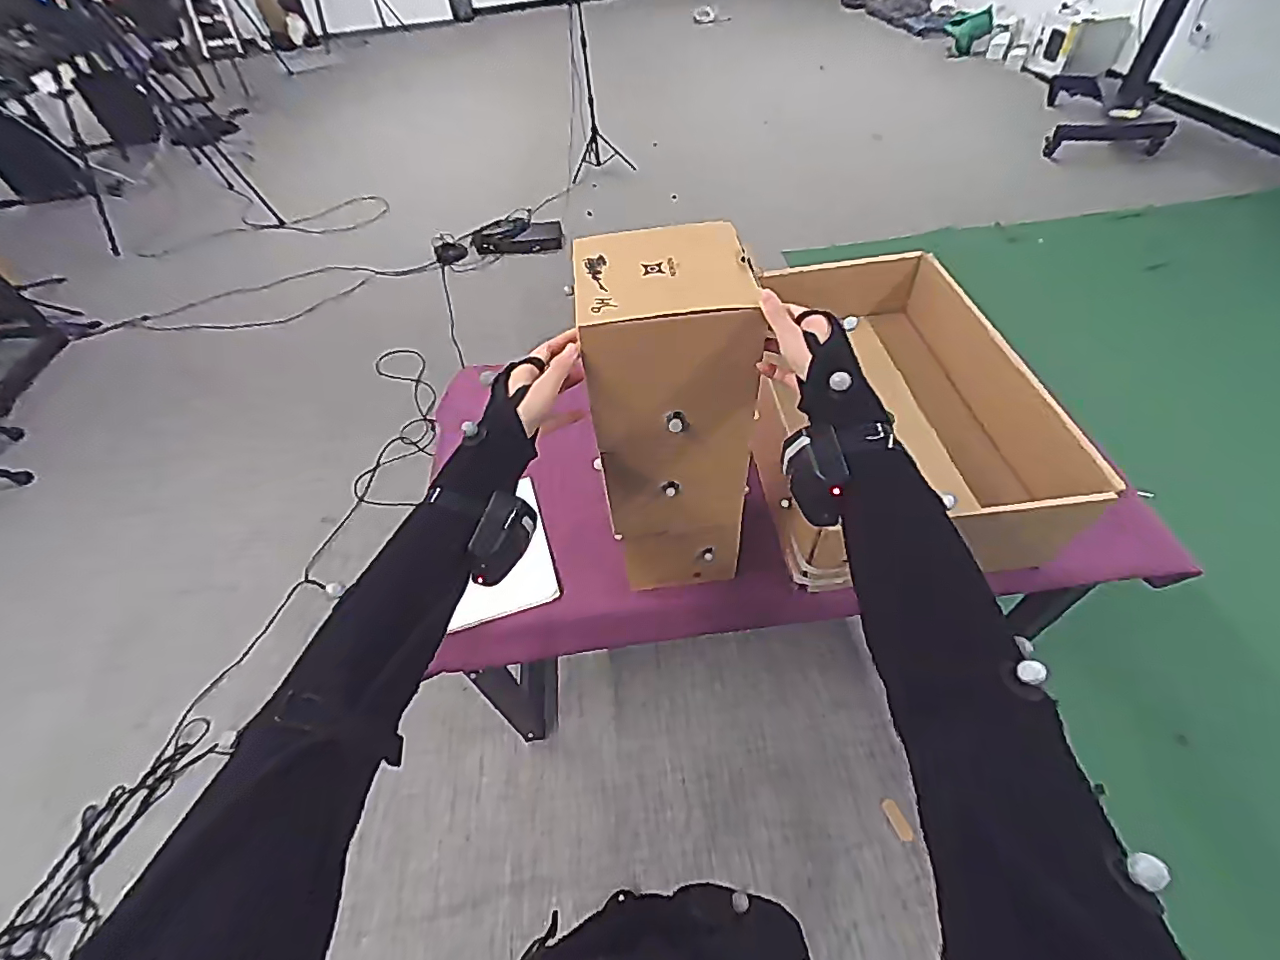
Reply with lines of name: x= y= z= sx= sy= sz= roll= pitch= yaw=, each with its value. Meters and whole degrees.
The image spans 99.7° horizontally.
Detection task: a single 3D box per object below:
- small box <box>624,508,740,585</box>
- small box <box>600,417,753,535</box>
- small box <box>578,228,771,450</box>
small box: x=0.058 y=0.052 z=0.849 sx=0.168 sy=0.176 sz=0.179 roll=-6 pitch=49 yaw=0
small box: x=0.041 y=-0.044 z=0.718 sx=0.179 sy=0.176 sz=0.168 roll=-7 pitch=49 yaw=0
small box: x=0.028 y=-0.150 z=0.592 sx=0.179 sy=0.176 sz=0.168 roll=-6 pitch=48 yaw=-1
